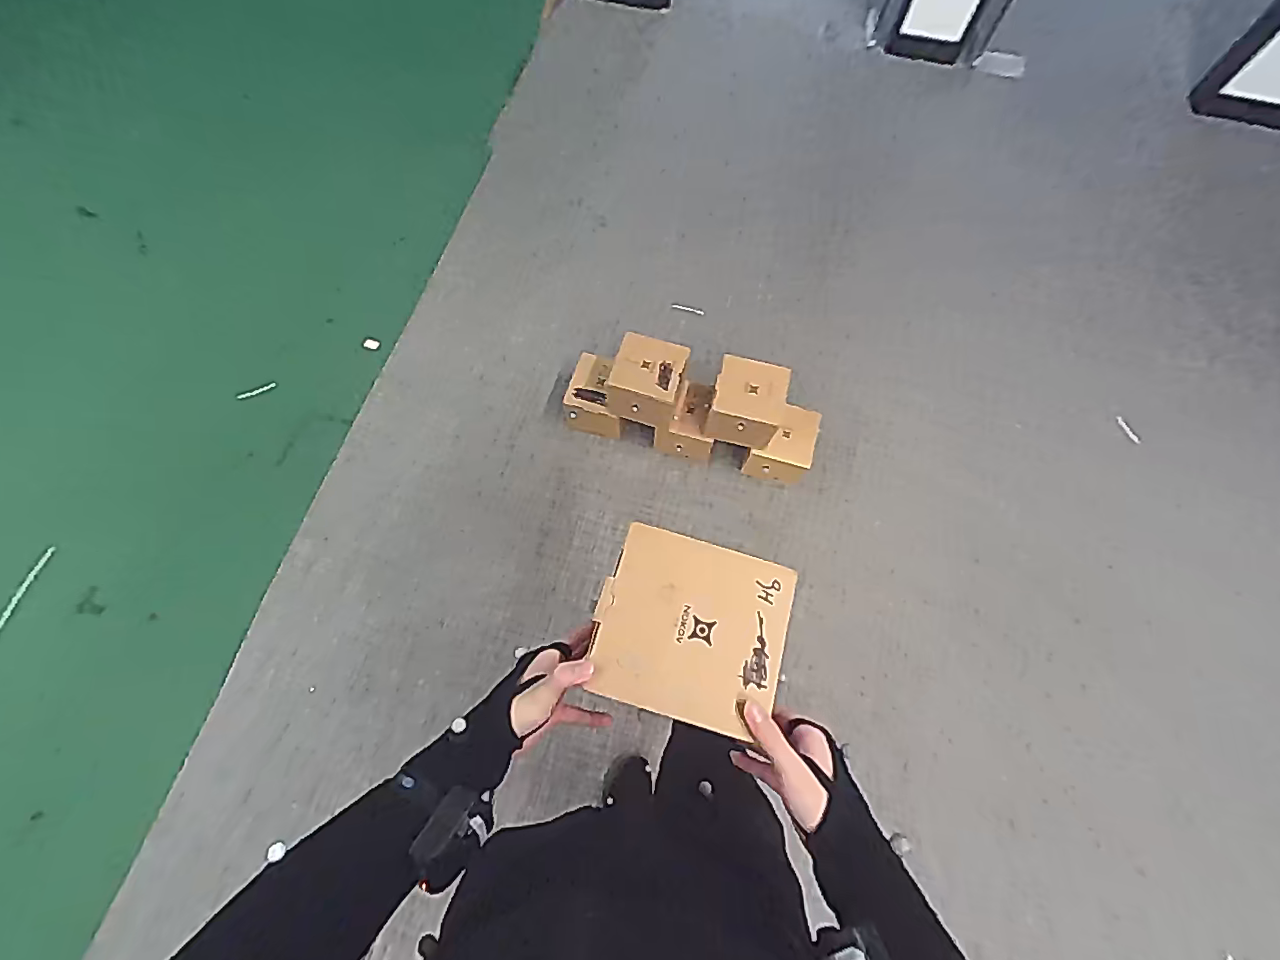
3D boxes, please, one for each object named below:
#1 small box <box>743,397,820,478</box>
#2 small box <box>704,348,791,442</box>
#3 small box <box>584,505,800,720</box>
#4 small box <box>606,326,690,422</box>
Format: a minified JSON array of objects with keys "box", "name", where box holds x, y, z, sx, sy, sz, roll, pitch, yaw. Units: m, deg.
[{"box":[0.401,-0.122,1.558,0.168,0.176,0.179,15,72,5],"name":"small box"},{"box":[0.274,-0.215,1.416,0.179,0.176,0.168,14,72,2],"name":"small box"},{"box":[0.050,0.149,0.588,0.179,0.176,0.168,17,69,3],"name":"small box"},{"box":[0.021,-0.273,1.432,0.179,0.176,0.168,17,72,6],"name":"small box"}]
